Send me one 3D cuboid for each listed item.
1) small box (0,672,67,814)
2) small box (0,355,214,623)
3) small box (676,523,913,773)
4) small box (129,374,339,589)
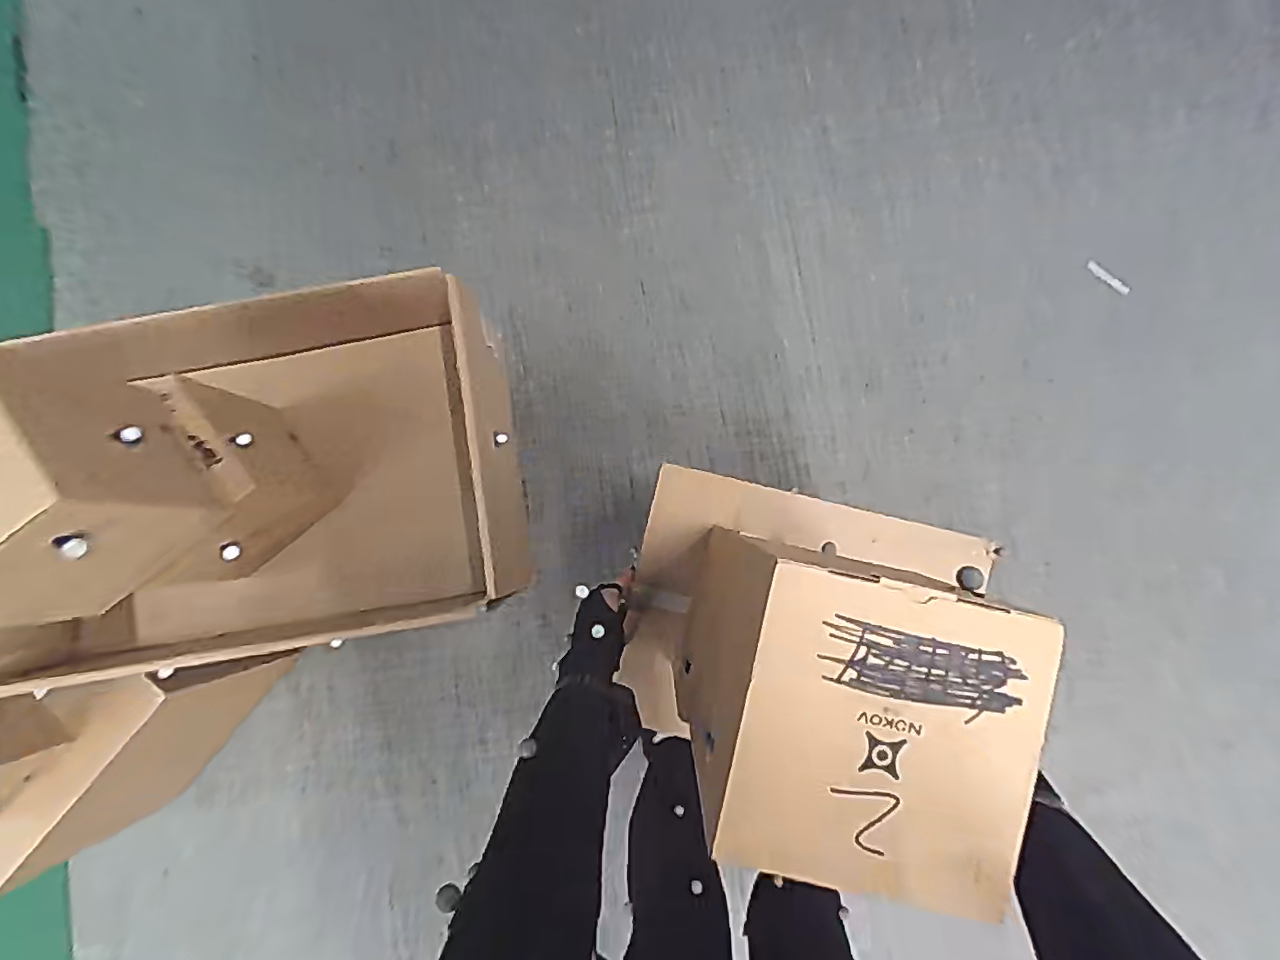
[{"bbox_3d":[-0.966,0.381,0.731,0.179,0.176,0.168,44,87,6],"label":"small box"},{"bbox_3d":[-0.537,0.011,0.484,0.179,0.176,0.168,-38,83,-1],"label":"small box"},{"bbox_3d":[0.137,0.149,0.549,0.168,0.176,0.179,18,89,2],"label":"small box"},{"bbox_3d":[-0.514,0.008,0.649,0.179,0.176,0.168,-39,85,-1],"label":"small box"}]
